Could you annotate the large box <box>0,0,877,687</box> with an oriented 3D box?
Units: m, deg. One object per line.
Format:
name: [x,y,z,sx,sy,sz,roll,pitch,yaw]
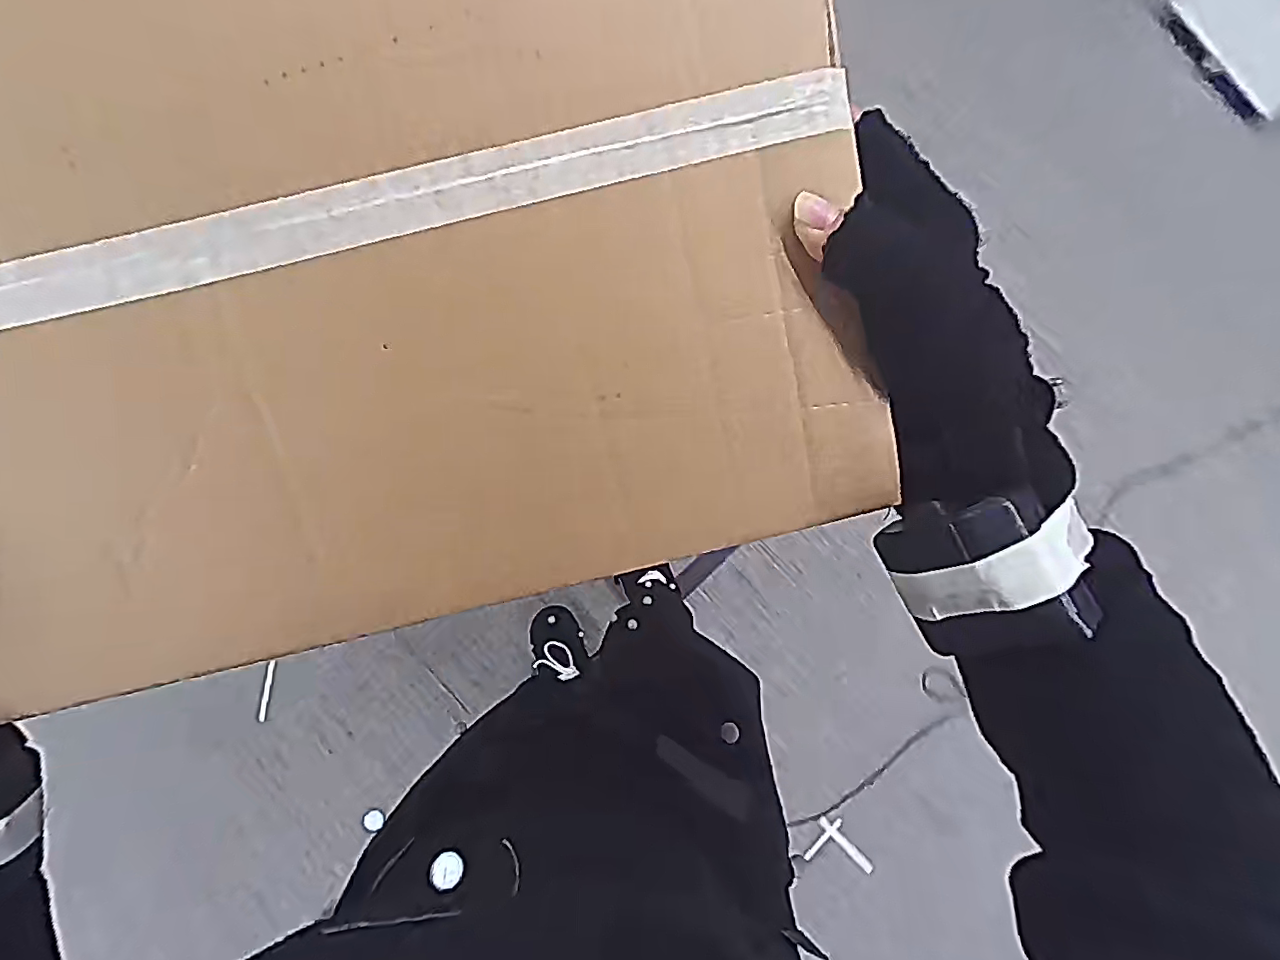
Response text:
large box: [-0.122,-0.126,0.355,0.408,0.320,0.320,-12,101,-1]
